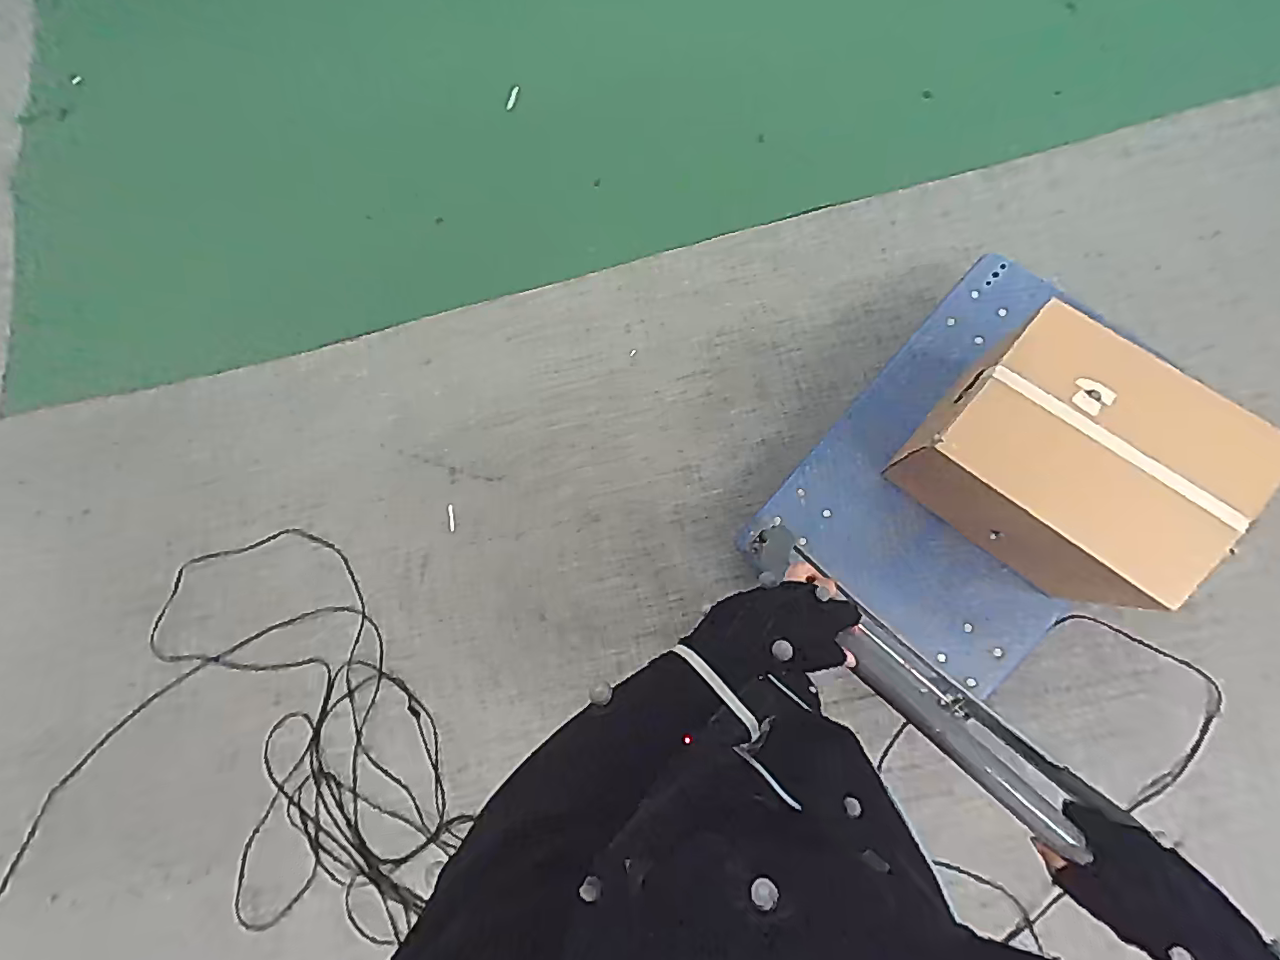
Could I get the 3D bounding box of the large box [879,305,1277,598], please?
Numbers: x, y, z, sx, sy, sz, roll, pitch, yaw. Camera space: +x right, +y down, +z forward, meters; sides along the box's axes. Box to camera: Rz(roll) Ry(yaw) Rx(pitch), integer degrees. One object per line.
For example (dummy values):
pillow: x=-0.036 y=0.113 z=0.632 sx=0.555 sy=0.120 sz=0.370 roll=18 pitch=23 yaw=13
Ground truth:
large box: x=0.734 y=-0.036 z=0.992 sx=0.408 sy=0.320 sz=0.320 roll=38 pitch=89 yaw=13
